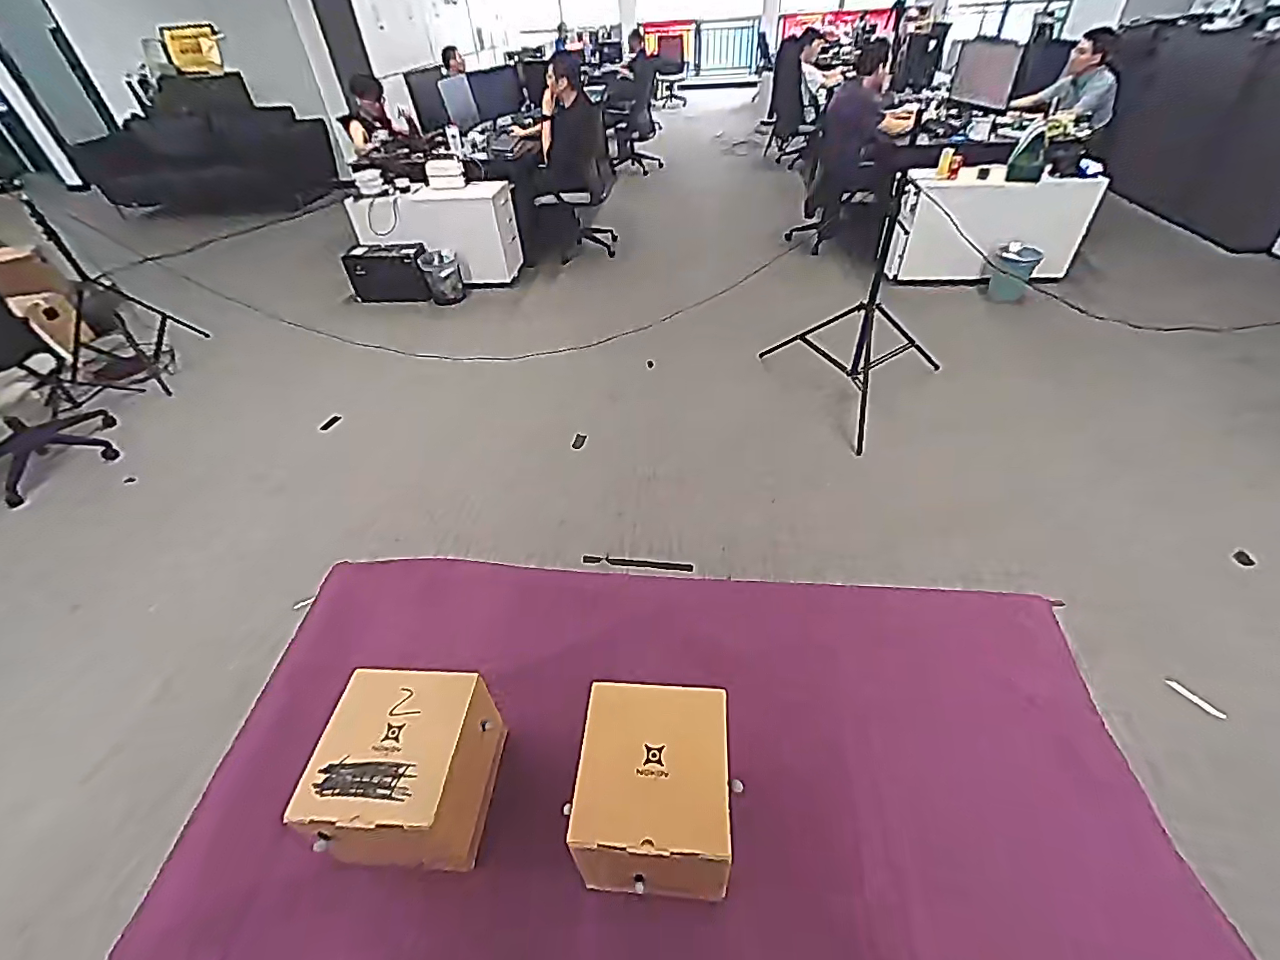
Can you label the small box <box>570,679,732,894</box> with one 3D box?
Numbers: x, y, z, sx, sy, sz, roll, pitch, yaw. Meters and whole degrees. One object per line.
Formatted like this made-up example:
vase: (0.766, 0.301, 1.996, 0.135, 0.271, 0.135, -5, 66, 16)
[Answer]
small box: (0.020, 0.366, 0.650, 0.168, 0.176, 0.179, 1, 42, 6)
